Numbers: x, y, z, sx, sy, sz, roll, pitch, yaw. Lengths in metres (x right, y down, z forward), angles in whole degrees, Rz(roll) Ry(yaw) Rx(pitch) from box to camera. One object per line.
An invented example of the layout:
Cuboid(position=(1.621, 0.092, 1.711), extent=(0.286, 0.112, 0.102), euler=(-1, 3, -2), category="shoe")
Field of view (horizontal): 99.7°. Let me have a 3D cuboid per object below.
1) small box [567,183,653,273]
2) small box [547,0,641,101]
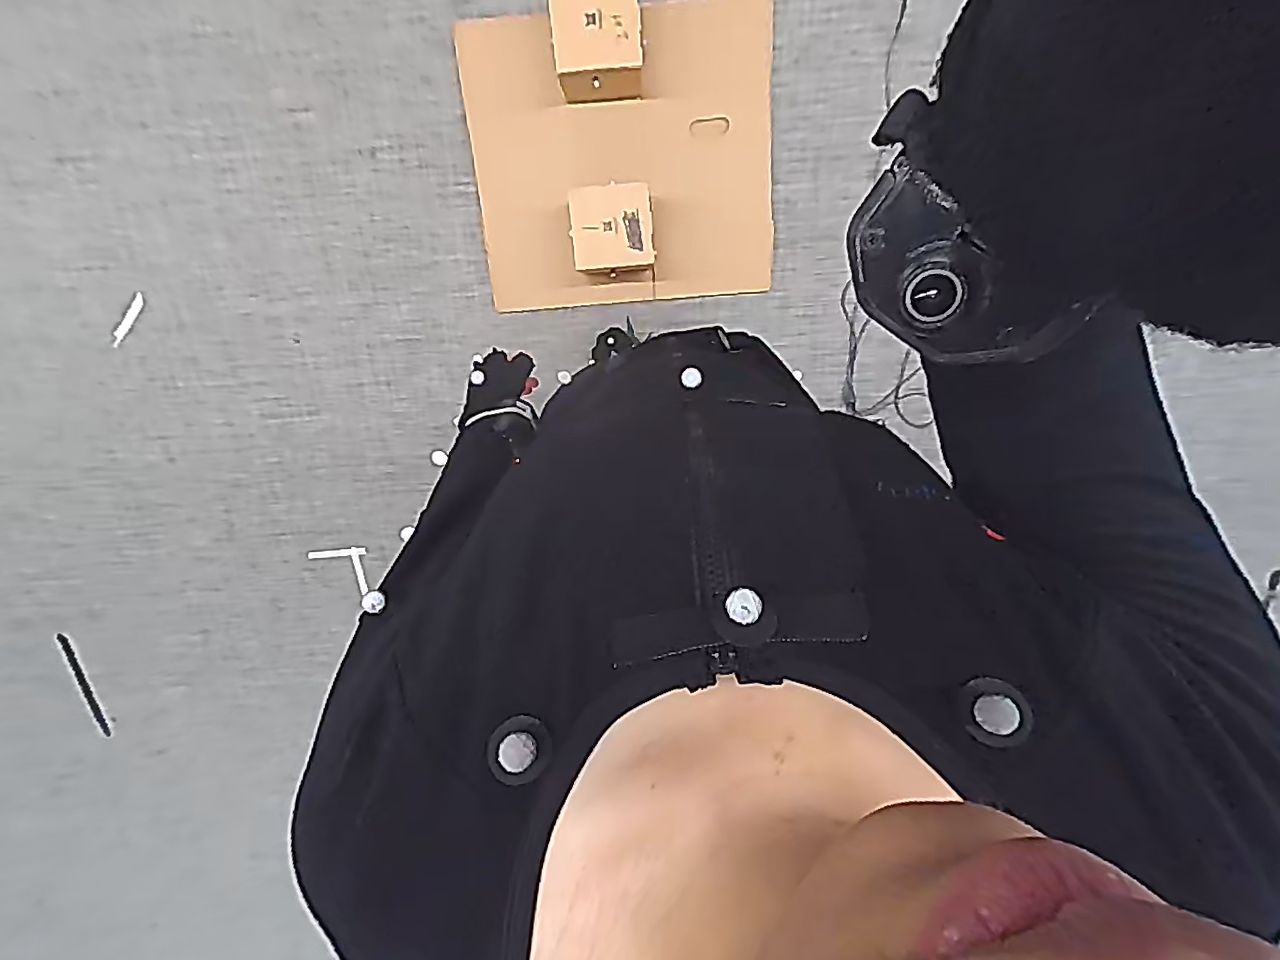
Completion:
Cuboid(position=(-0.064, -0.572, 1.242), extent=(0.179, 0.176, 0.168), euler=(-4, 108, 1), category="small box")
Cuboid(position=(-0.090, -0.915, 1.127), extent=(0.179, 0.176, 0.168), euler=(-4, 109, 0), category="small box")
